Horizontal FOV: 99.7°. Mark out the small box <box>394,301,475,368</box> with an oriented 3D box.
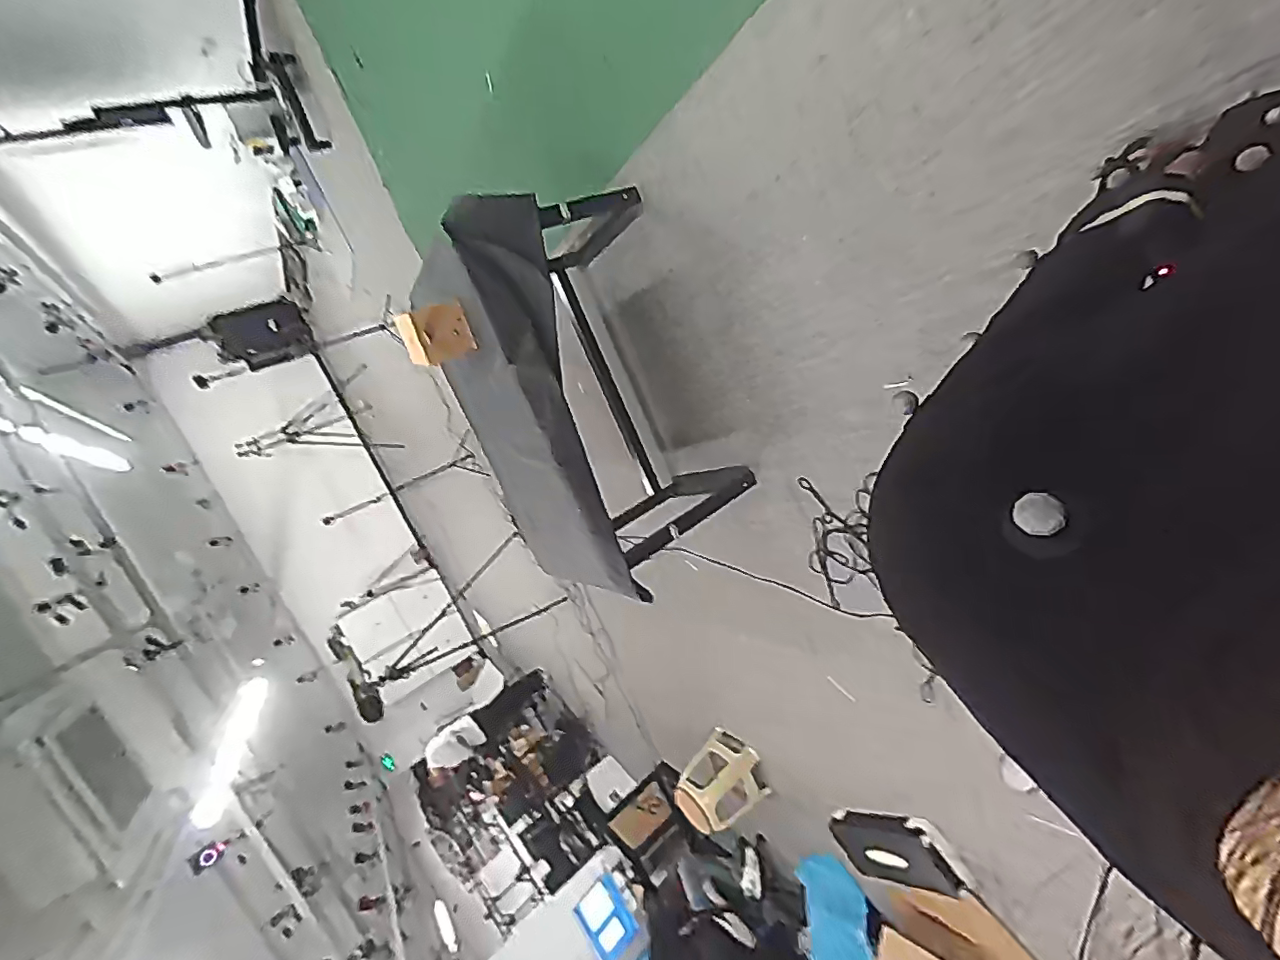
[{"bbox_3d":[-0.656,-0.465,1.734,0.179,0.176,0.168,16,129,50],"label":"small box"}]
